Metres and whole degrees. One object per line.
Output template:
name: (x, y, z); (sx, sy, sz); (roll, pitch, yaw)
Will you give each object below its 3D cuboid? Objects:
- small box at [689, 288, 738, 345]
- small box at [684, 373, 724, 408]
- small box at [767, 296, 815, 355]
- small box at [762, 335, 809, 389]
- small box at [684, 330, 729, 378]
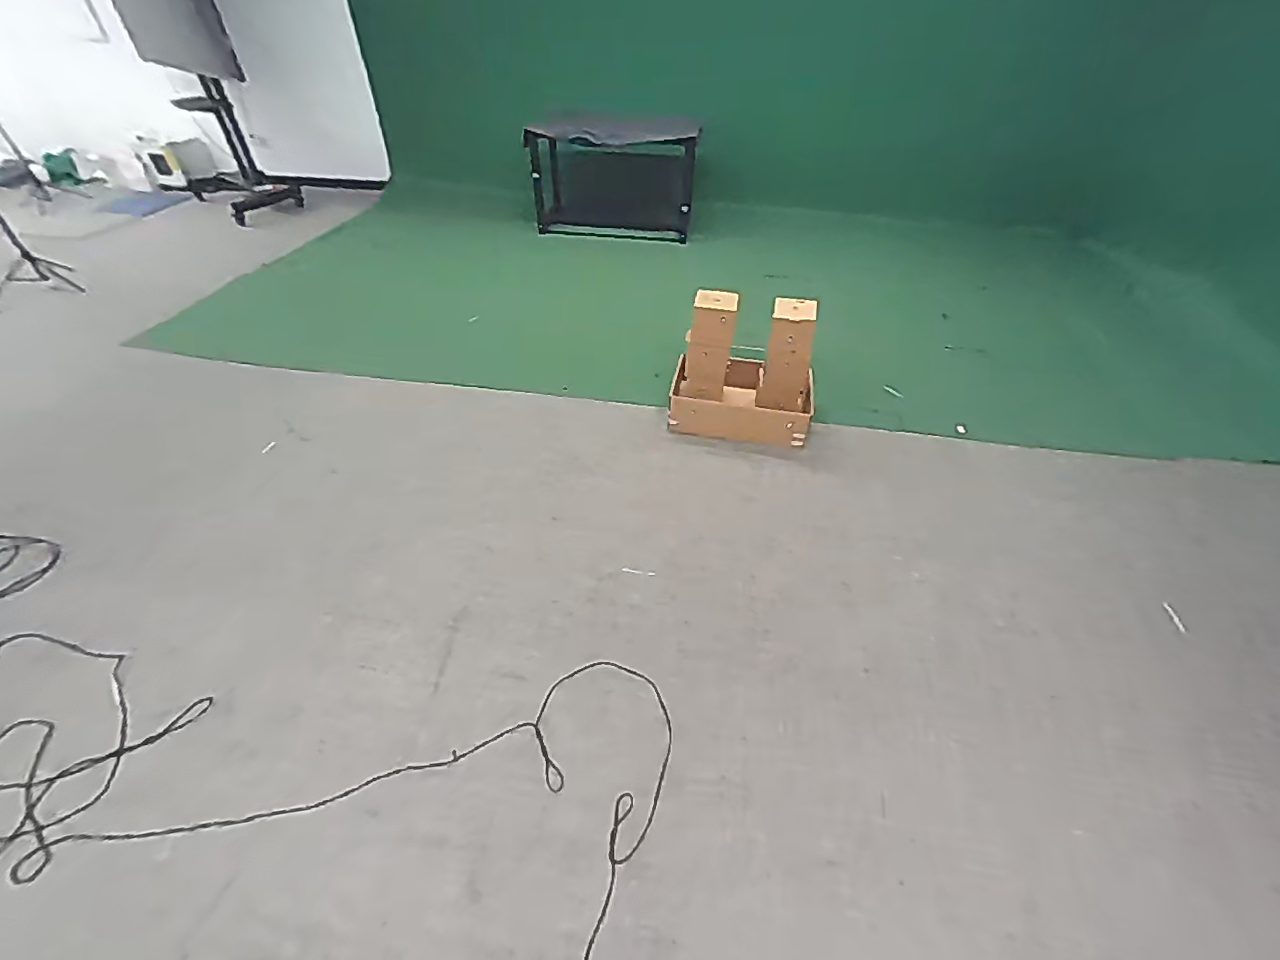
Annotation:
small box: (0.309, -0.685, 2.274); (0.179, 0.176, 0.168); (8, 44, 7)
small box: (0.300, -0.456, 2.510); (0.168, 0.176, 0.179); (8, 45, 7)
small box: (0.621, -0.635, 2.229); (0.168, 0.176, 0.179); (9, 47, 11)
small box: (0.625, -0.510, 2.335); (0.179, 0.176, 0.168); (7, 46, 7)
small box: (0.296, -0.568, 2.391); (0.179, 0.176, 0.168); (9, 45, 7)
